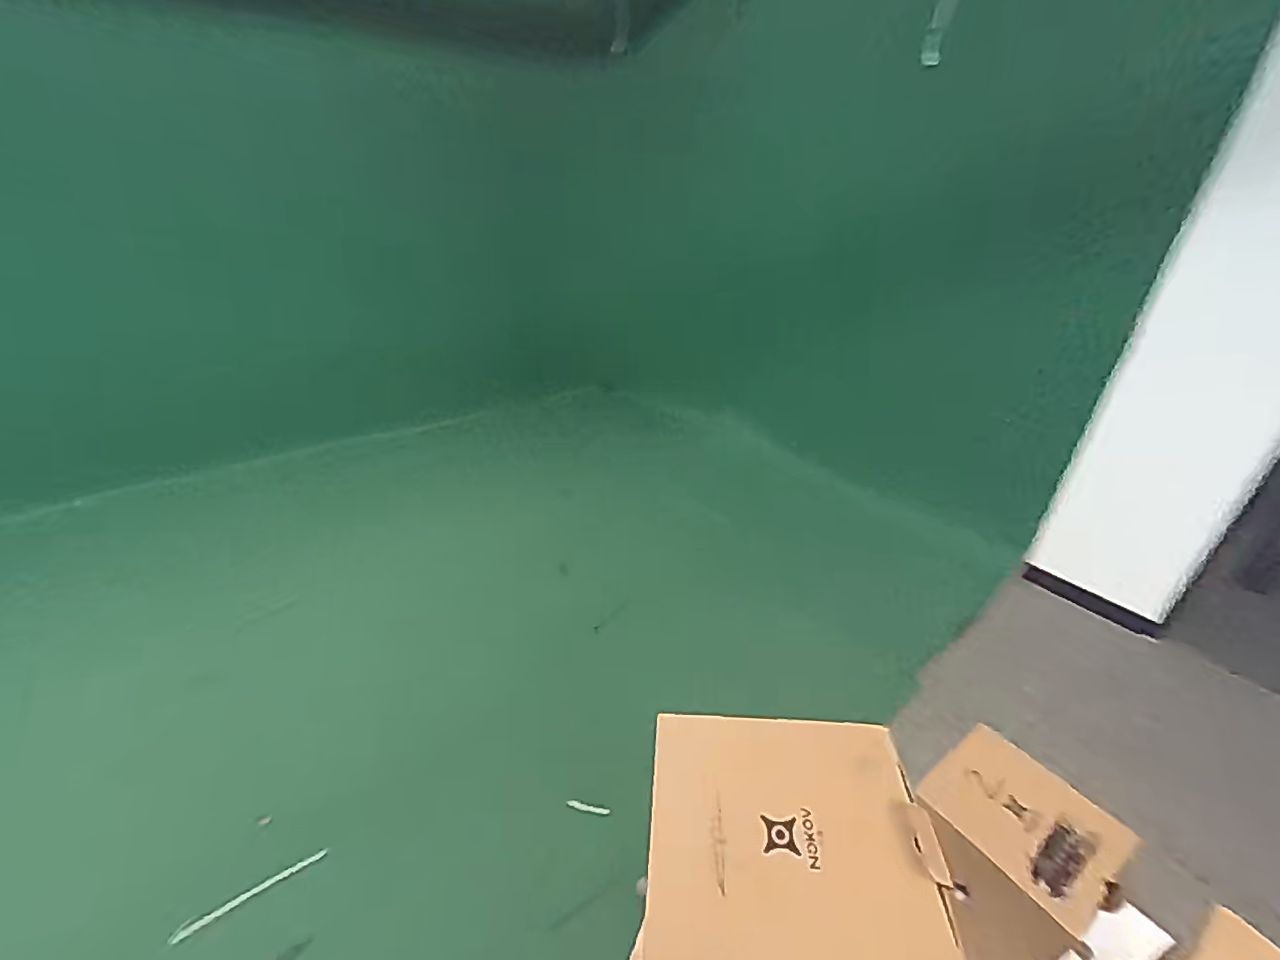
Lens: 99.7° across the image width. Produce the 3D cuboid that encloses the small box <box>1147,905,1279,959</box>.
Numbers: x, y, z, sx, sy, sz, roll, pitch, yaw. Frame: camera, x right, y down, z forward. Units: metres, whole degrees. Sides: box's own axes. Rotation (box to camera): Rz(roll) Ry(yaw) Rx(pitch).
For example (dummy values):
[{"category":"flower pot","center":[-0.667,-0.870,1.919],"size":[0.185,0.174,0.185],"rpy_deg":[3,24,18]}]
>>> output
[{"category":"small box","center":[0.549,0.555,0.487],"size":[0.179,0.176,0.168],"rpy_deg":[-17,36,-30]}]

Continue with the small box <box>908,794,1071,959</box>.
[{"category":"small box","center":[0.427,0.590,0.742],"size":[0.168,0.176,0.179],"rpy_deg":[-19,38,-30]}]

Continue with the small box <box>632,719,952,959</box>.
[{"category":"small box","center":[0.090,0.298,0.387],"size":[0.179,0.176,0.168],"rpy_deg":[-1,32,4]}]
